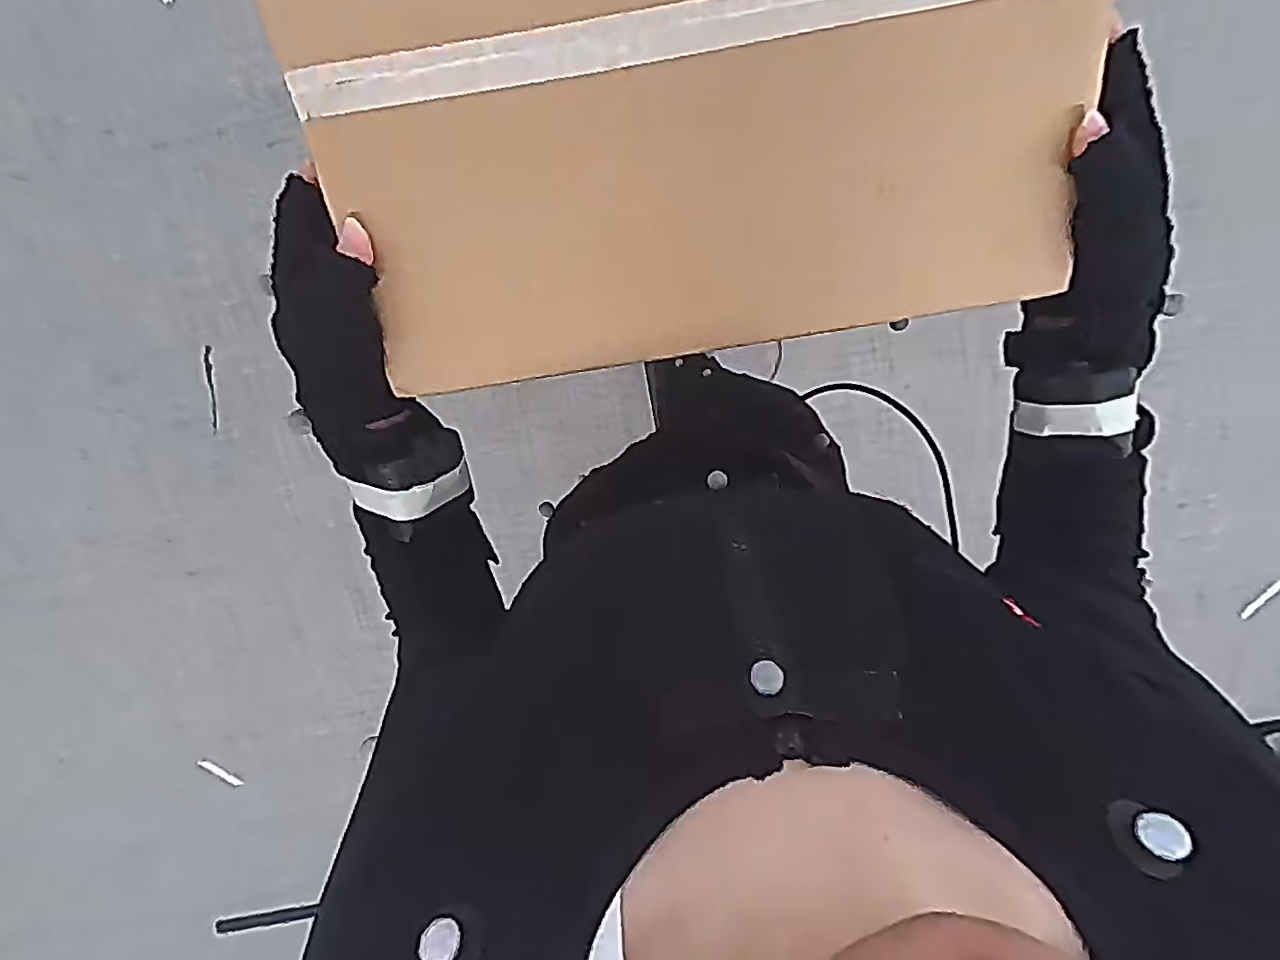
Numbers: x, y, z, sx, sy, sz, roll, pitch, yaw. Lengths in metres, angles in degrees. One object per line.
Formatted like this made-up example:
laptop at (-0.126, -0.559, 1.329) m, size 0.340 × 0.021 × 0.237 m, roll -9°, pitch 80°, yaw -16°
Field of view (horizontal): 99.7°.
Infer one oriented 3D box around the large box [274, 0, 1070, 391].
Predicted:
large box at (0.019, -0.285, 0.411) m, size 0.408 × 0.320 × 0.320 m, roll -9°, pitch 112°, yaw 2°
